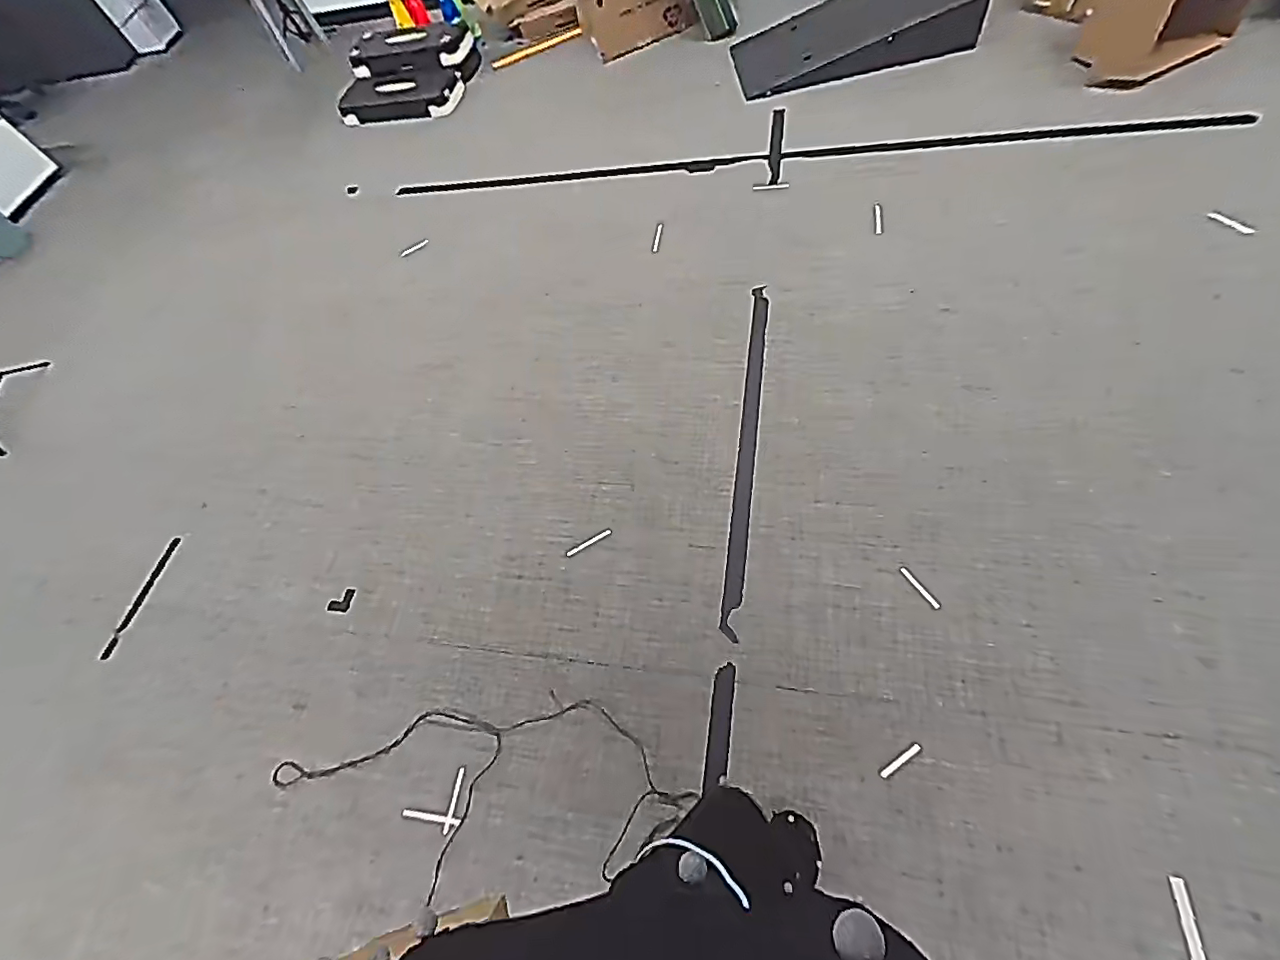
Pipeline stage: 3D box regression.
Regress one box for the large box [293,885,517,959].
[{"bbox_3d":[-0.232,0.607,0.387,0.320,0.320,0.408,-14,65,-11],"label":"large box"}]
